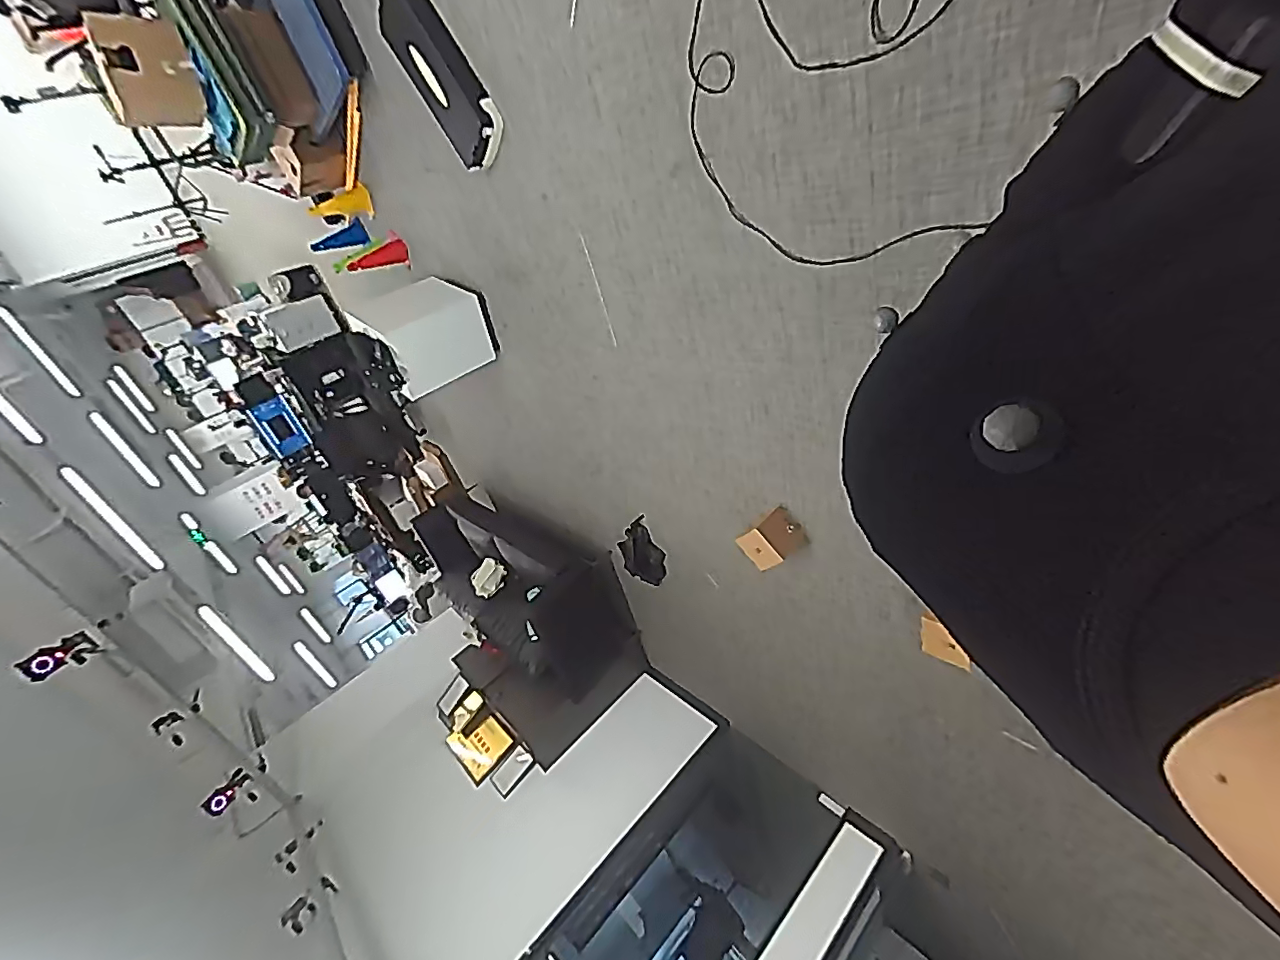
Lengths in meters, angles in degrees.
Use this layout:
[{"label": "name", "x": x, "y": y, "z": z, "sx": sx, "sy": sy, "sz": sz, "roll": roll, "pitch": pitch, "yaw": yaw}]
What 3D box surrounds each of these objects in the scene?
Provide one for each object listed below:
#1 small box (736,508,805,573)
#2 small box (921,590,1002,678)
[{"label": "small box", "x": 0.524, "y": 0.241, "z": 2.168, "sx": 0.168, "sy": 0.176, "sz": 0.179, "roll": 49, "pitch": 151, "yaw": 6}, {"label": "small box", "x": 1.009, "y": 0.475, "z": 1.695, "sx": 0.179, "sy": 0.176, "sz": 0.168, "roll": 18, "pitch": 136, "yaw": 48}]
